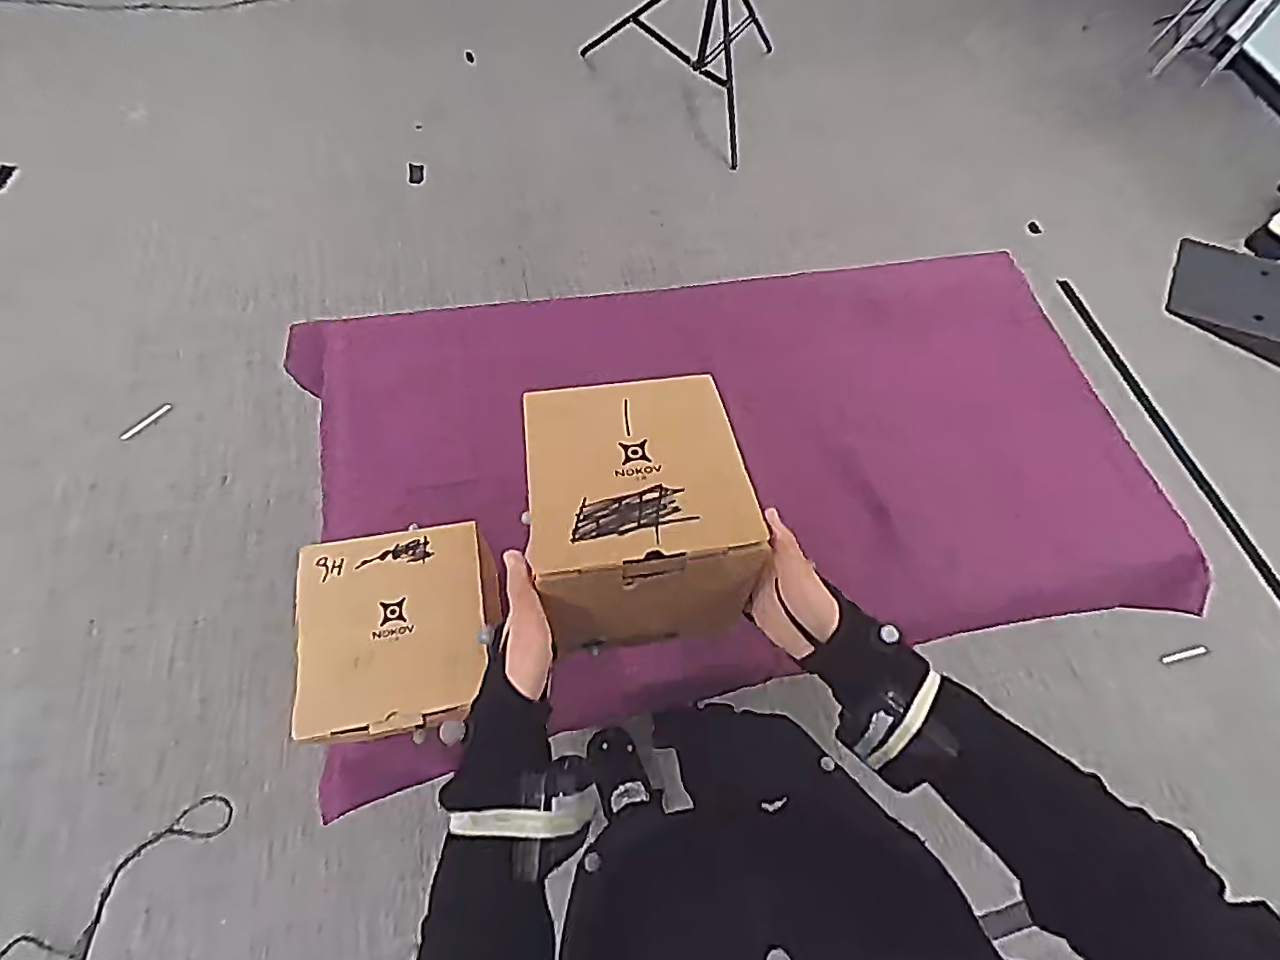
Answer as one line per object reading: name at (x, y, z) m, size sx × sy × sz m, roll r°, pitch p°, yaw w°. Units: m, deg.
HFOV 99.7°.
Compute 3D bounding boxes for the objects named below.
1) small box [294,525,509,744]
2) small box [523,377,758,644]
small box at (-0.237, 0.165, 0.574) m, size 0.168 × 0.176 × 0.179 m, roll -8°, pitch 67°, yaw -11°
small box at (-0.008, 0.035, 0.487) m, size 0.168 × 0.176 × 0.179 m, roll -7°, pitch 53°, yaw -6°
